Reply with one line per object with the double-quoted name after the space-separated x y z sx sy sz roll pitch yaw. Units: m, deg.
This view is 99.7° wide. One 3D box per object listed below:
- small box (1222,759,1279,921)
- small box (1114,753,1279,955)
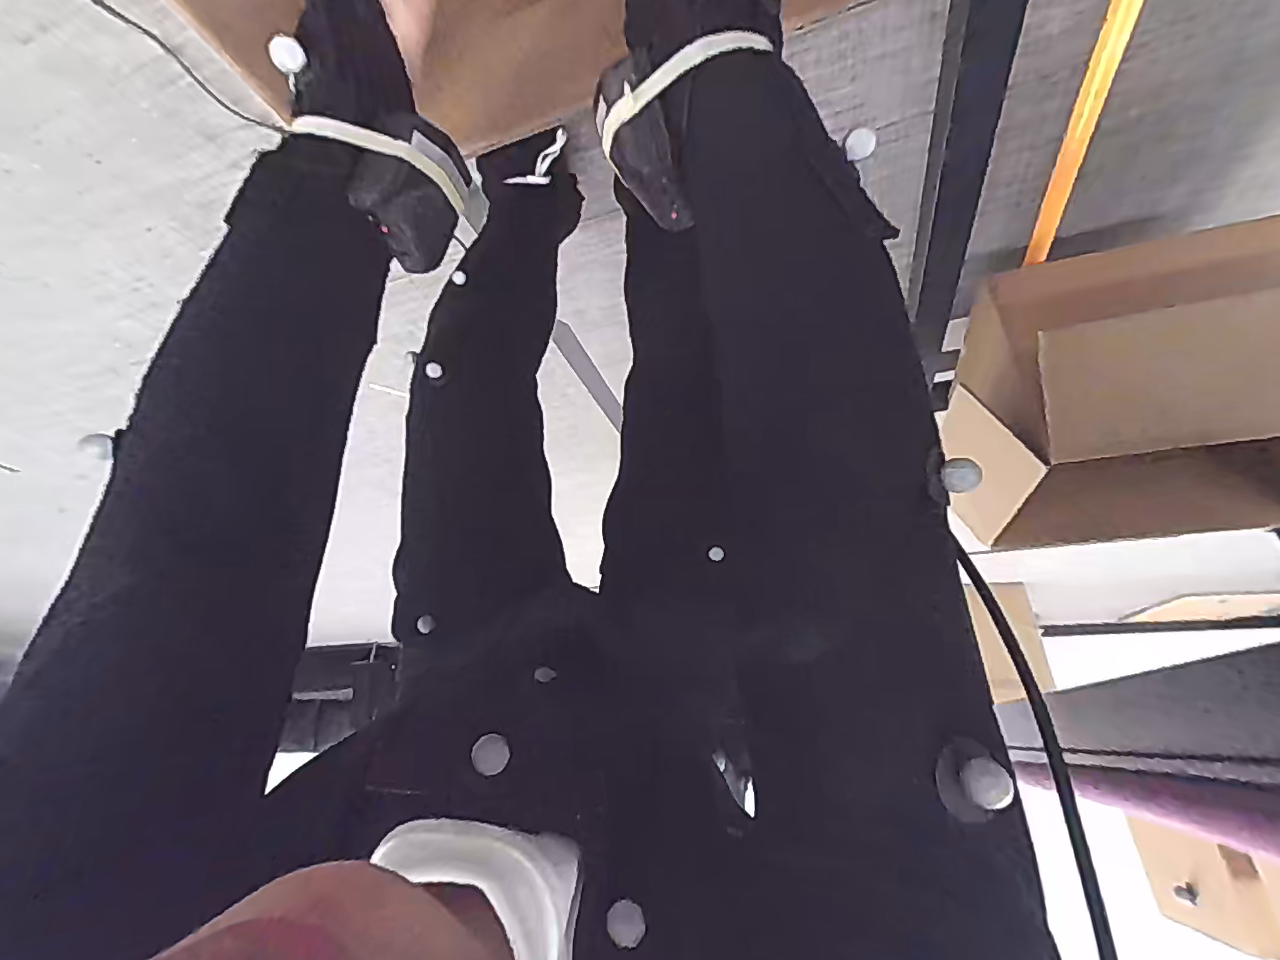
0.618 0.305 0.399 0.179 0.176 0.168 -7 153 14 "small box"
0.686 0.404 0.607 0.168 0.176 0.179 -7 153 12 "small box"
